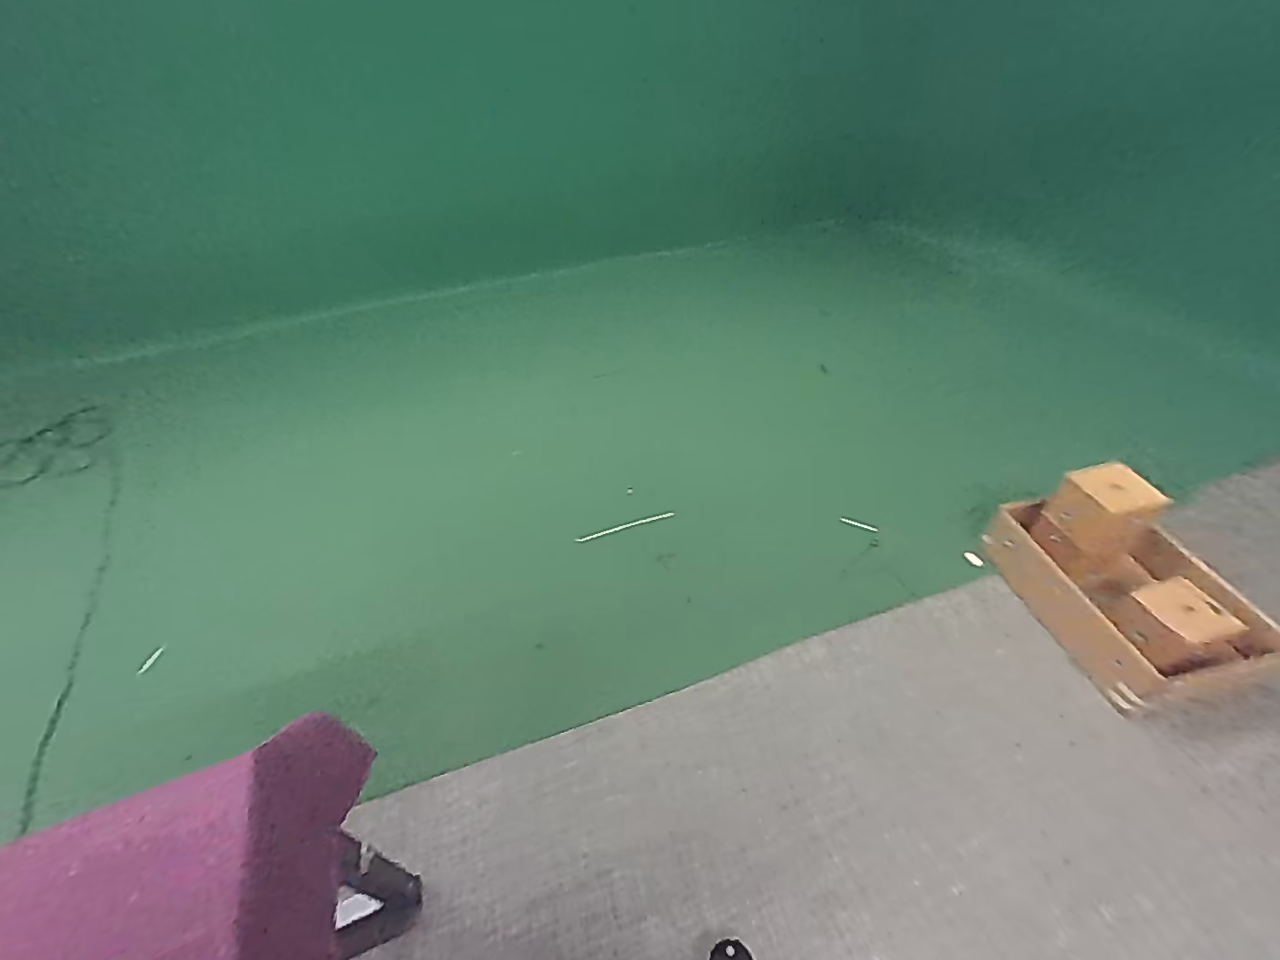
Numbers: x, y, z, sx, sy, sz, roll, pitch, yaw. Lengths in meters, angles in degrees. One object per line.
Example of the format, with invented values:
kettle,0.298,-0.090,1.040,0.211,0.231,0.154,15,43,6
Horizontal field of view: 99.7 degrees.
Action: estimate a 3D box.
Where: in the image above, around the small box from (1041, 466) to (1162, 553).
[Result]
small box,1.329,0.088,1.574,0.179,0.176,0.168,-12,44,-5
